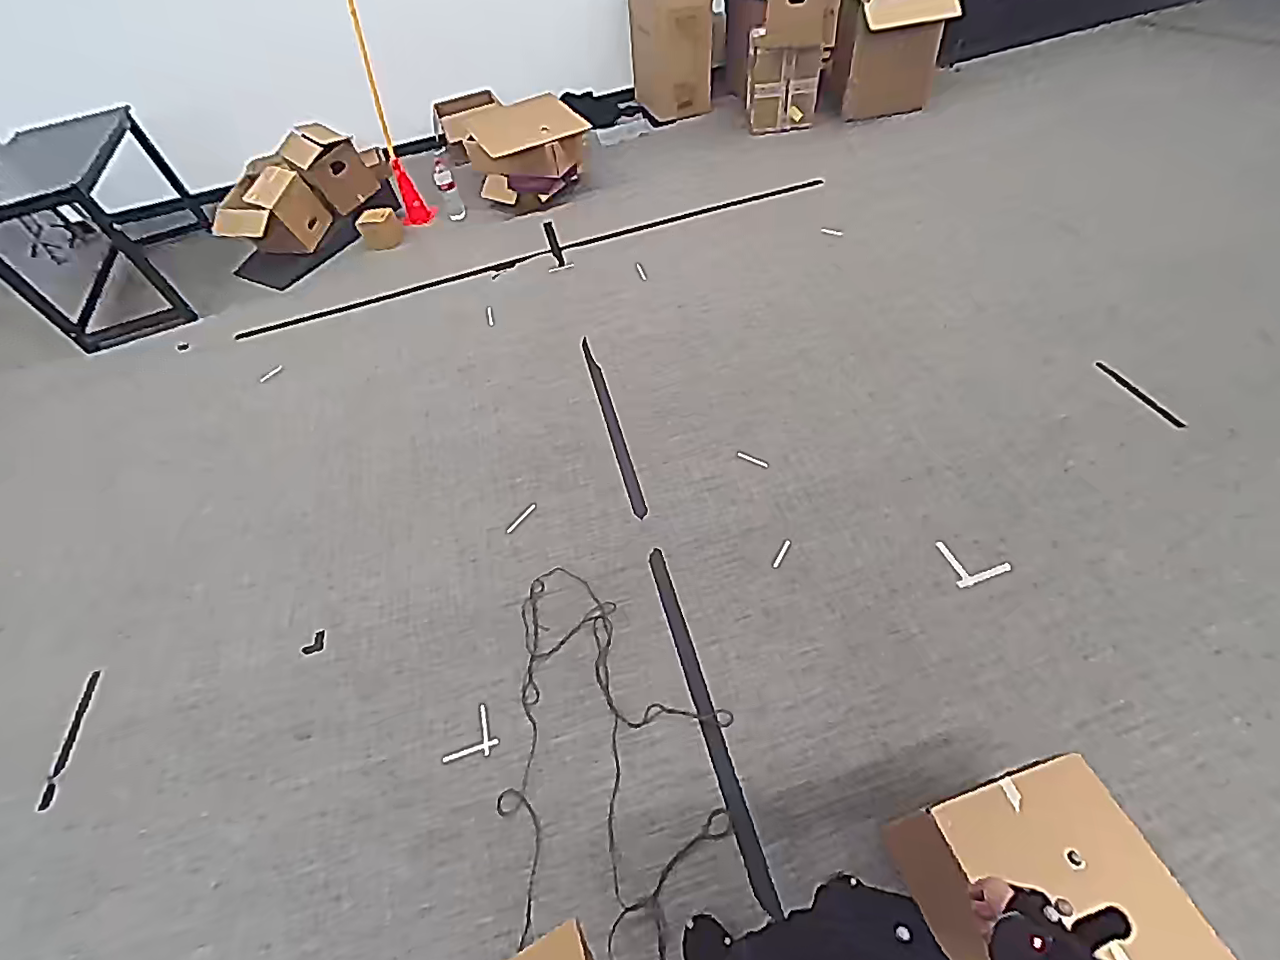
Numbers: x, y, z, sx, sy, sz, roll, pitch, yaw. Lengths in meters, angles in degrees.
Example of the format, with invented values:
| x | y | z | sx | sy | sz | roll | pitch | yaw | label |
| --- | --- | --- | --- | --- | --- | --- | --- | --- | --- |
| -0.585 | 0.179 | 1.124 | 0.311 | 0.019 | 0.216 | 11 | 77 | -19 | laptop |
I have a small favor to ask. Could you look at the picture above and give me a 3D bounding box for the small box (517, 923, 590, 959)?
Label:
| x | y | z | sx | sy | sz | roll | pitch | yaw | label |
| --- | --- | --- | --- | --- | --- | --- | --- | --- | --- |
| -0.108 | 0.732 | 0.673 | 0.168 | 0.179 | 0.176 | -23 | 93 | -17 | small box |
